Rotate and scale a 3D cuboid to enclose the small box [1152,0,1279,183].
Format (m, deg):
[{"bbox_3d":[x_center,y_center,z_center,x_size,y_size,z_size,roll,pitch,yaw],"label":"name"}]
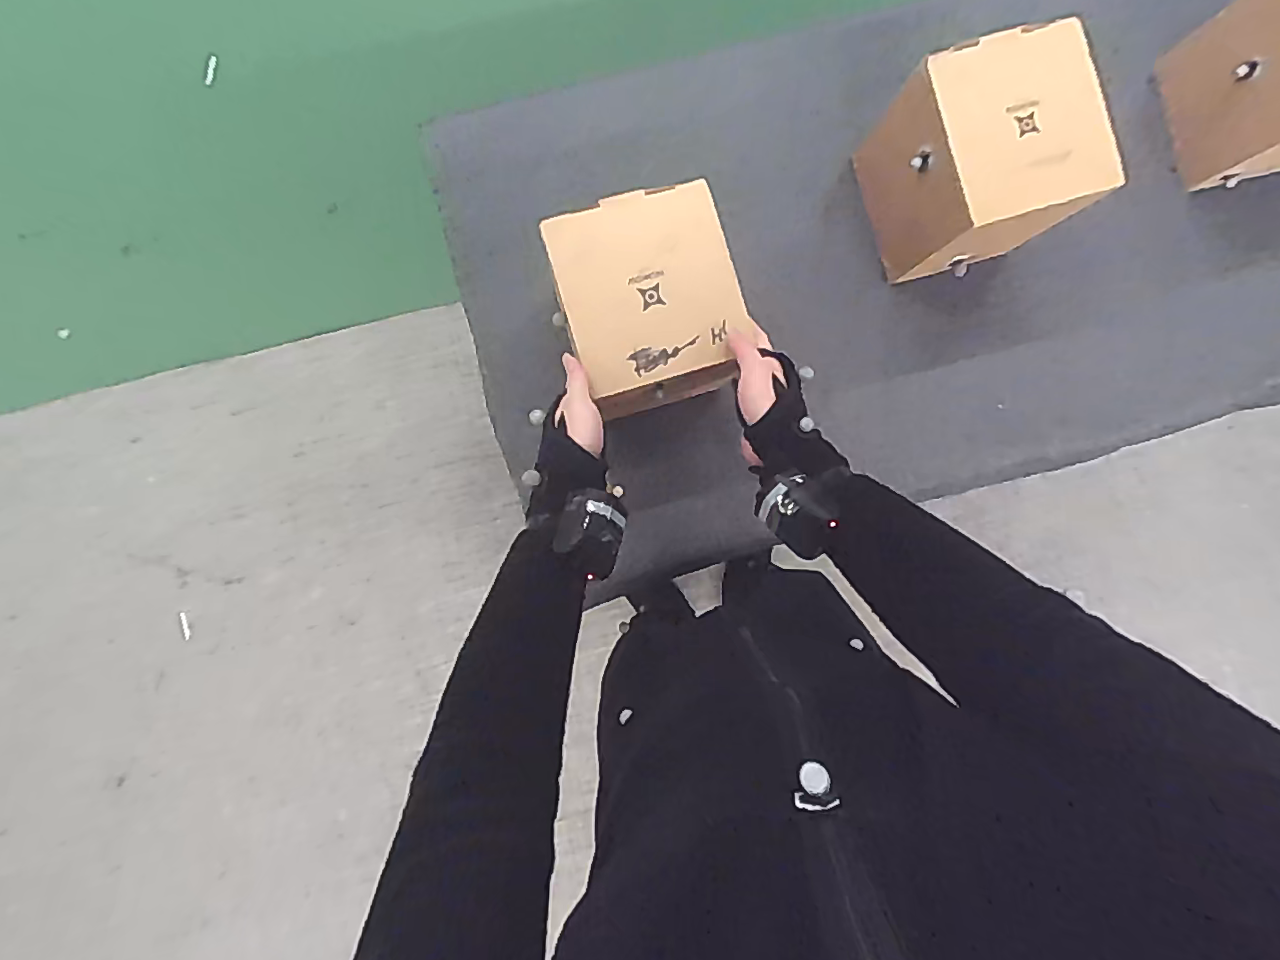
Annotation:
[{"bbox_3d":[0.772,-0.479,0.636,0.168,0.176,0.179,-14,90,-4],"label":"small box"}]

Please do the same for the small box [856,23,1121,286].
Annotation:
[{"bbox_3d":[0.372,-0.349,0.611,0.168,0.176,0.179,-17,92,-3],"label":"small box"}]

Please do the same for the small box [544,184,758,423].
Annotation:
[{"bbox_3d":[0.005,-0.173,0.582,0.168,0.176,0.179,-17,90,-4],"label":"small box"}]
